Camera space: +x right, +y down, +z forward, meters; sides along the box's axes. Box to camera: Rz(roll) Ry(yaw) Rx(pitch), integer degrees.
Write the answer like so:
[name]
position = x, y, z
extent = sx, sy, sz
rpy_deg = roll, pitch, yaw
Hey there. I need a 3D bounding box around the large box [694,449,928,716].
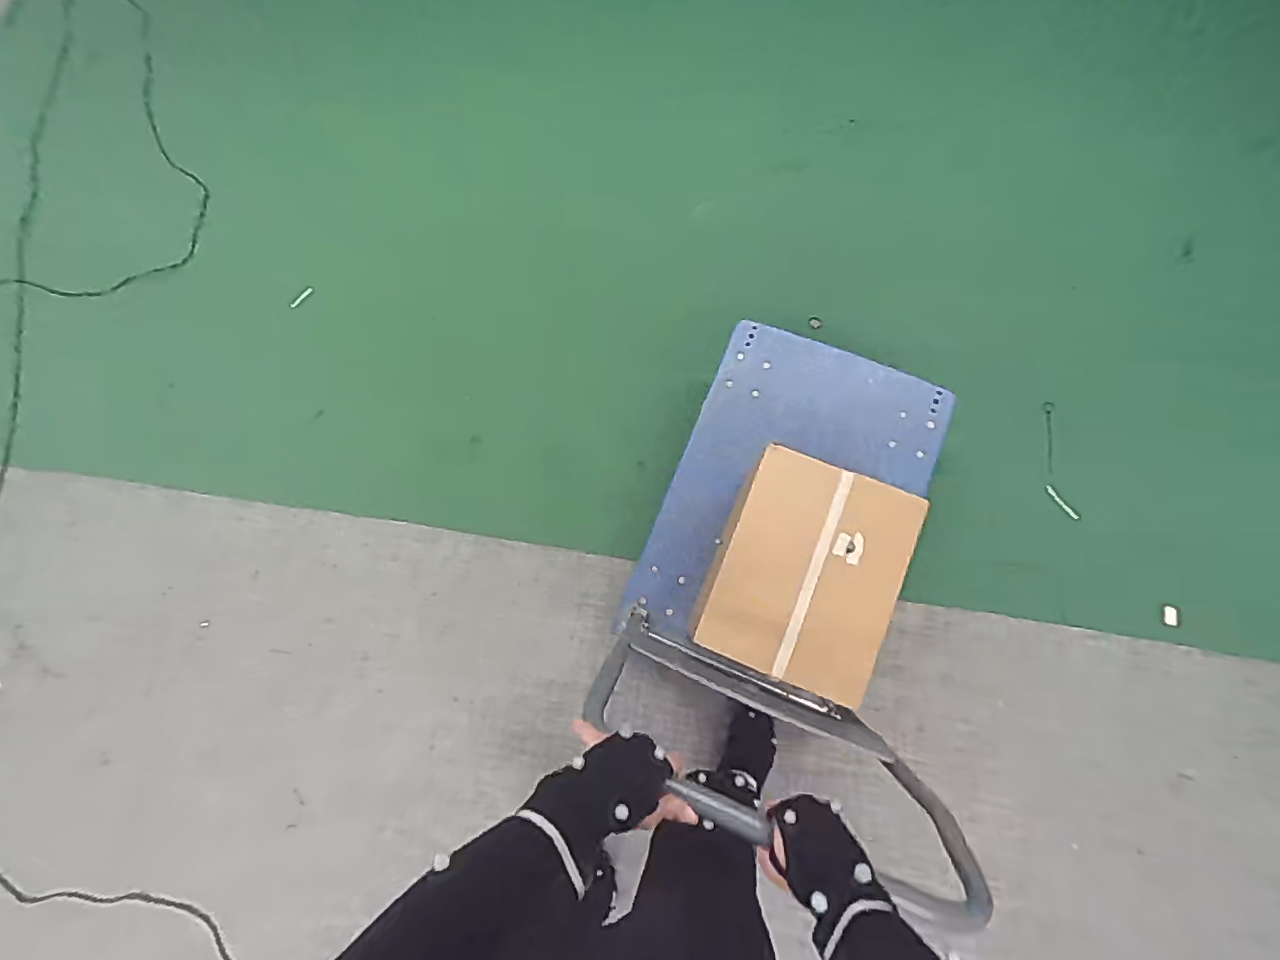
[large box]
position = 0.324, 0.203, 1.123
extent = 0.320, 0.320, 0.408
rpy_deg = 22, 82, 6
